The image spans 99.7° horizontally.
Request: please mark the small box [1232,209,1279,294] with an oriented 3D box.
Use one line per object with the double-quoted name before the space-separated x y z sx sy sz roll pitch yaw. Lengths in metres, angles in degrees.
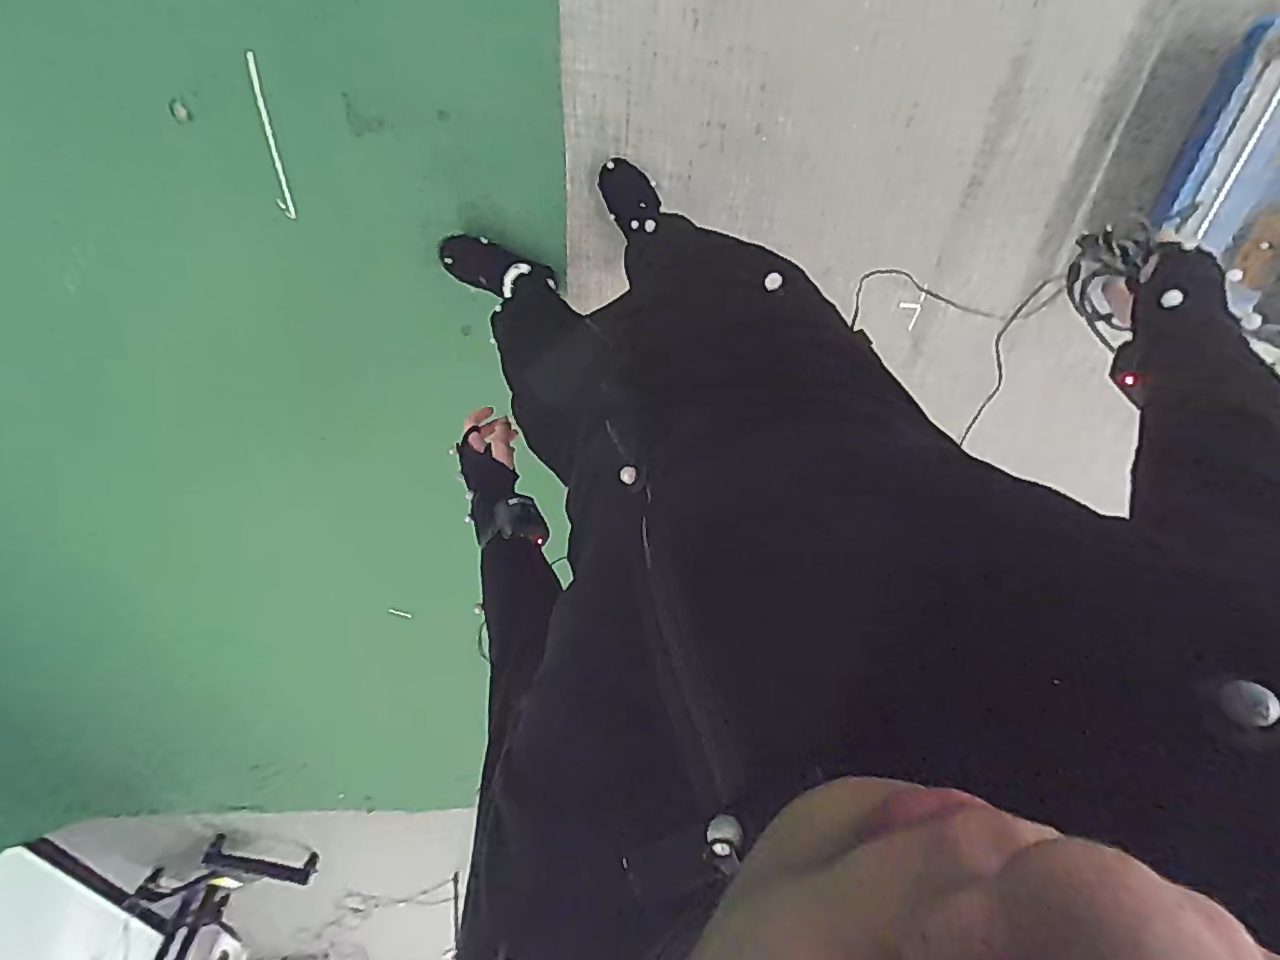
"small box" 1.548 -0.520 1.229 0.179 0.176 0.168 -1 126 -1
